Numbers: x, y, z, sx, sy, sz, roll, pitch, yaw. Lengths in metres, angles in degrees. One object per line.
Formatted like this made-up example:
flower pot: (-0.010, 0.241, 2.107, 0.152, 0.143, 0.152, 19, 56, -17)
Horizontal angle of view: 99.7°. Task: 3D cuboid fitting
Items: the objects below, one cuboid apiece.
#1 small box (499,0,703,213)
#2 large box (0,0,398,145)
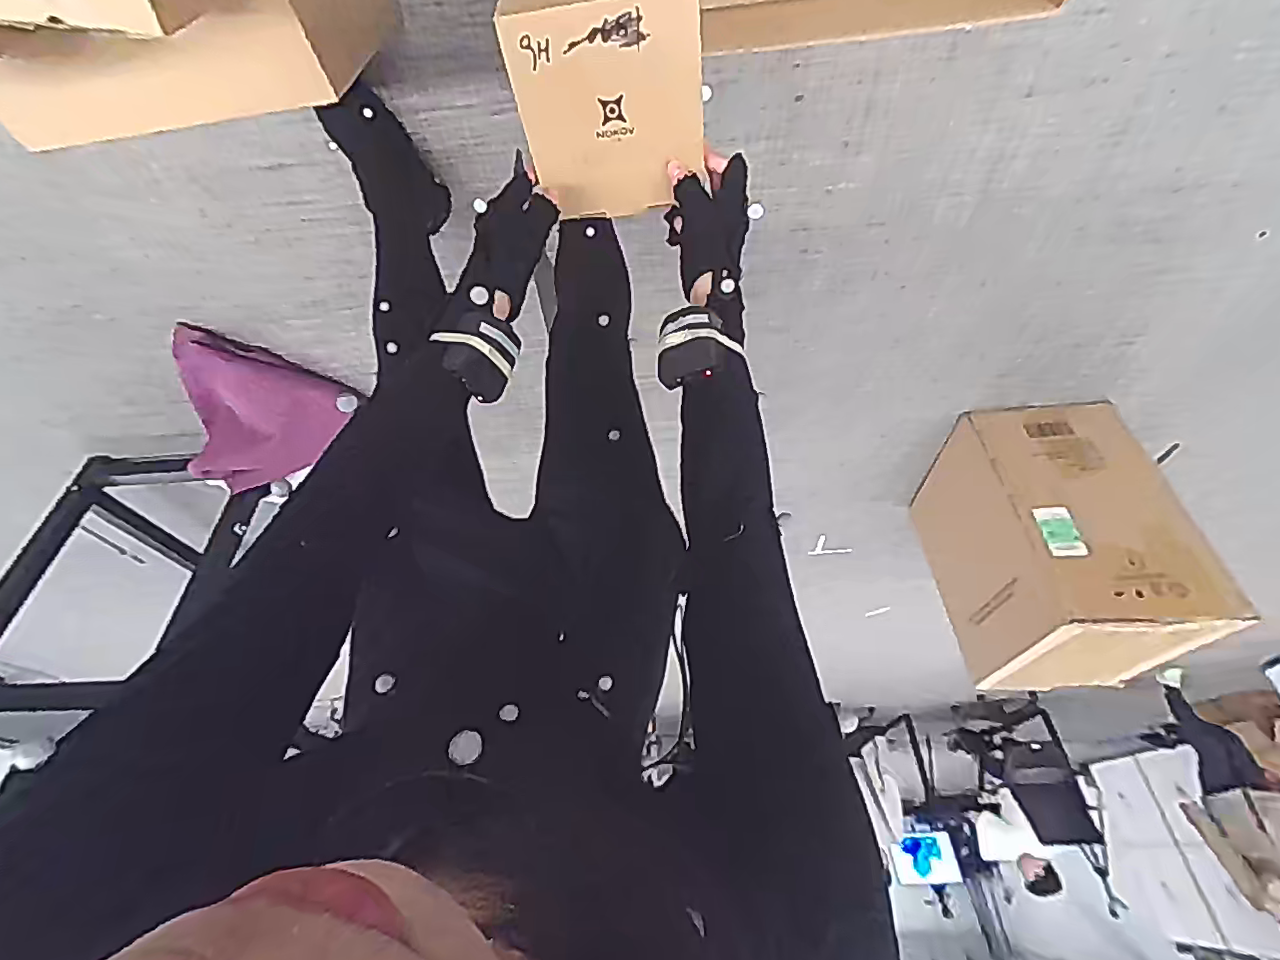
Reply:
small box: (-0.023, -0.401, 0.536, 0.168, 0.176, 0.179, -4, 147, 5)
large box: (-0.558, -0.632, 0.595, 0.408, 0.320, 0.320, -6, 145, 5)
